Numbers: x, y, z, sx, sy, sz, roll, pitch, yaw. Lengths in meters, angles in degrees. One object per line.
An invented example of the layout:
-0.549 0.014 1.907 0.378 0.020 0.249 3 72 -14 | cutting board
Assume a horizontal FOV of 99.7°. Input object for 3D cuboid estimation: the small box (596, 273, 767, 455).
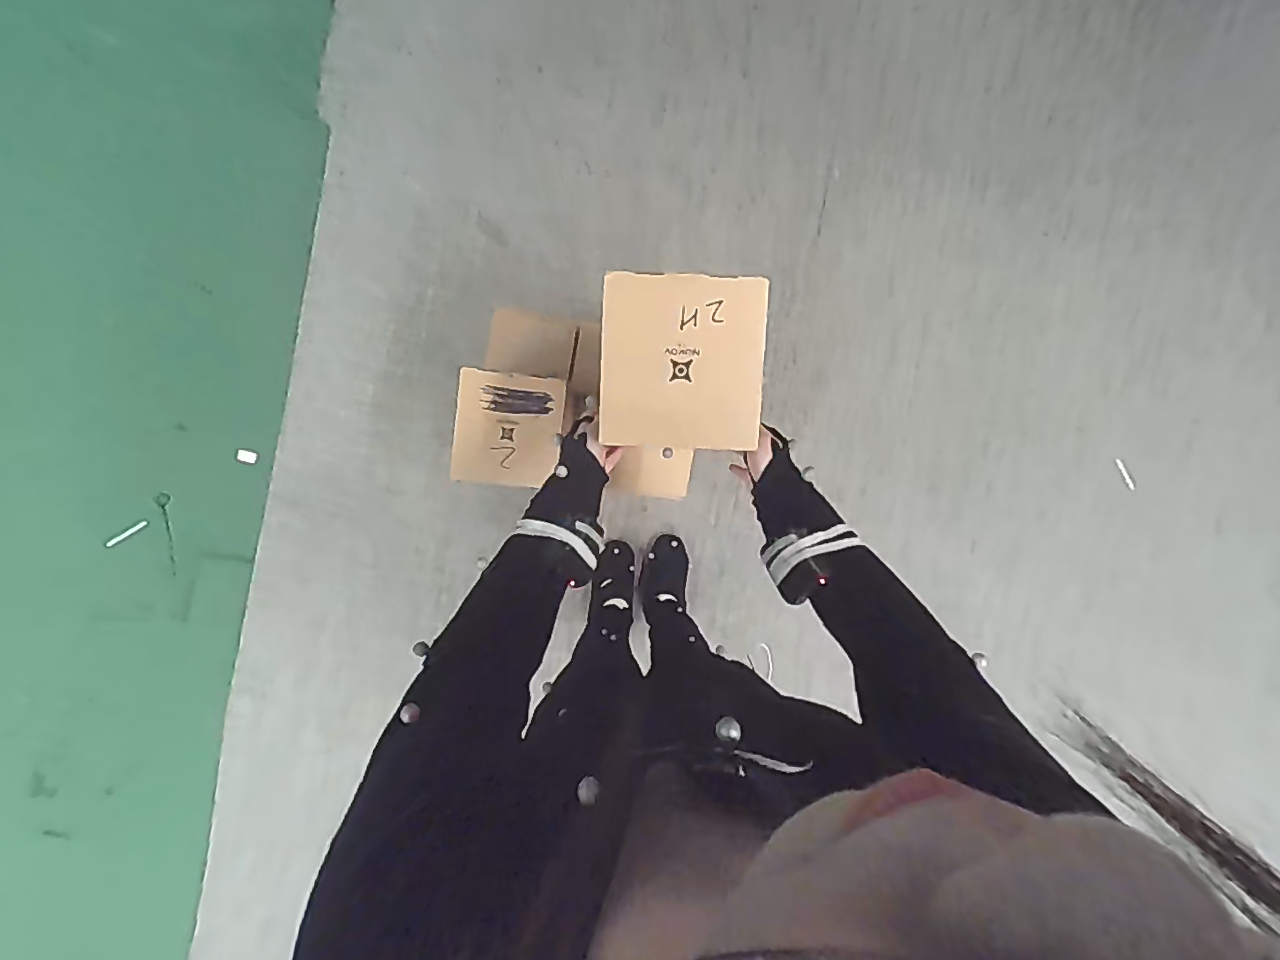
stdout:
0.042 -0.126 0.632 0.168 0.176 0.179 3 96 -1 | small box
